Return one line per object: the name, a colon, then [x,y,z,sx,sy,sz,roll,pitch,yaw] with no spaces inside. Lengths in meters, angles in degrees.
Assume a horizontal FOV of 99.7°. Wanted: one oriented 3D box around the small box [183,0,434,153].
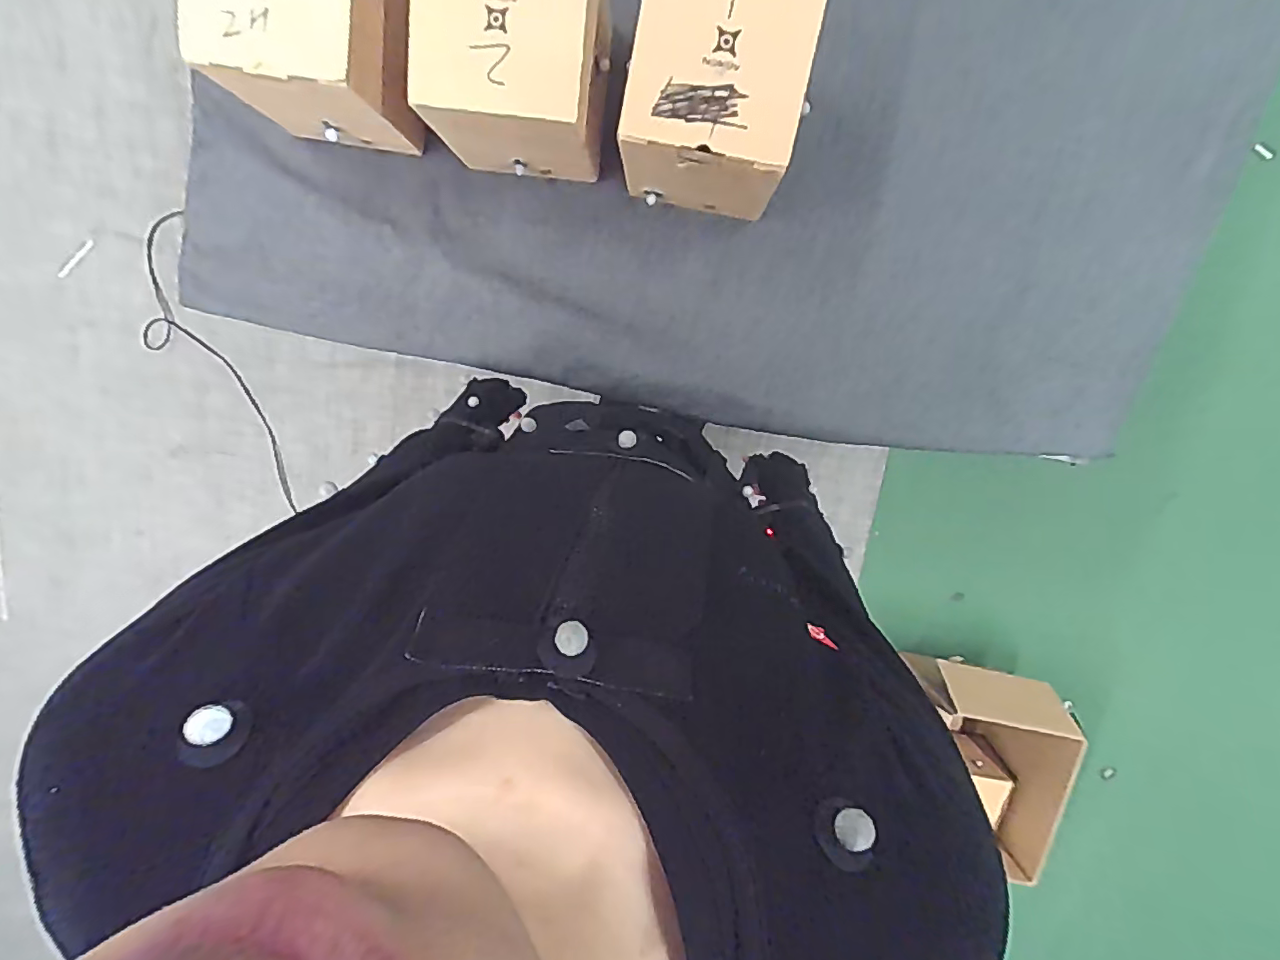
small box: [-0.335,-0.488,0.577,0.168,0.176,0.179,10,101,1]
